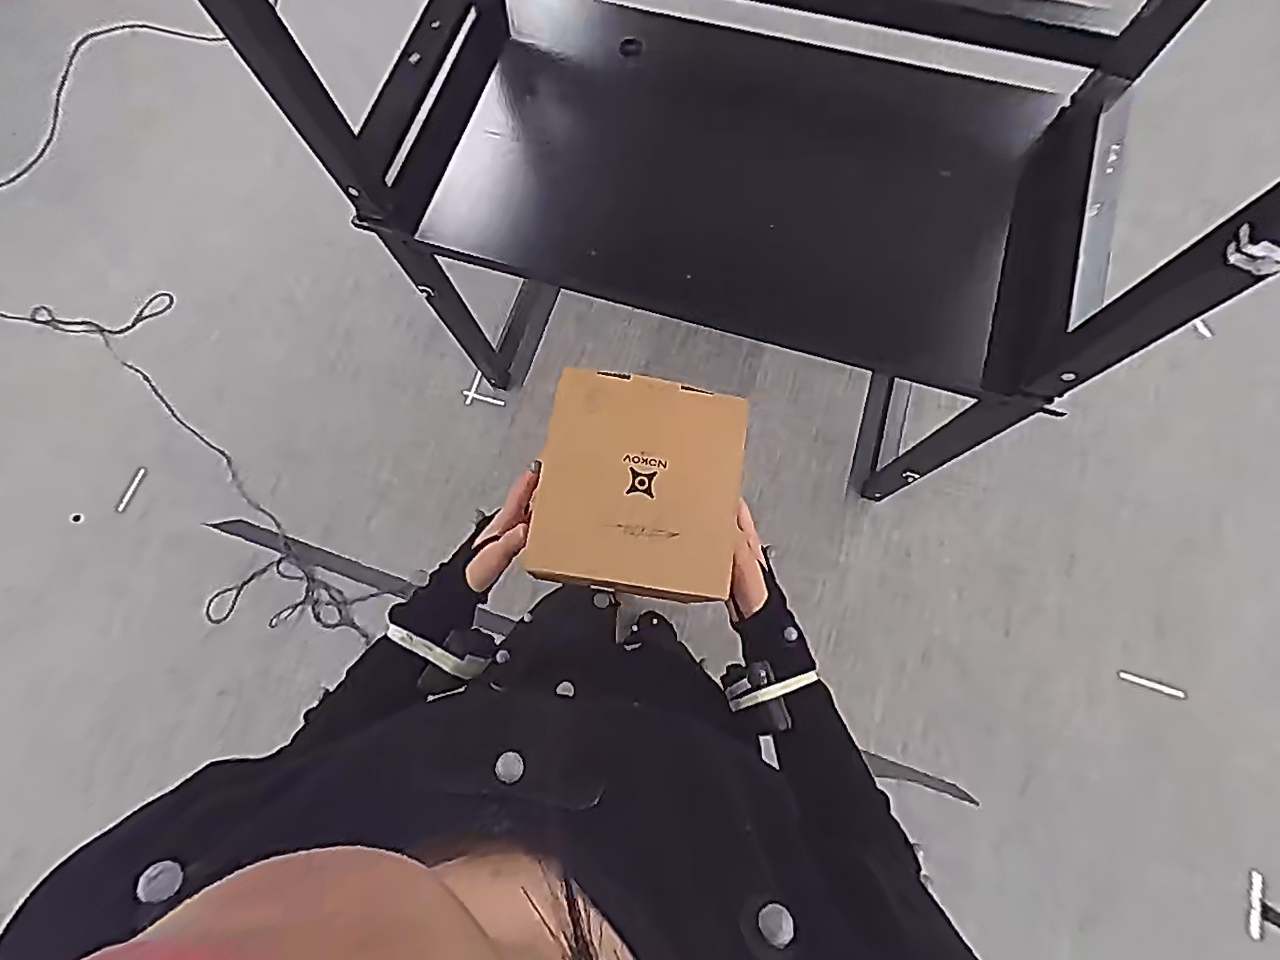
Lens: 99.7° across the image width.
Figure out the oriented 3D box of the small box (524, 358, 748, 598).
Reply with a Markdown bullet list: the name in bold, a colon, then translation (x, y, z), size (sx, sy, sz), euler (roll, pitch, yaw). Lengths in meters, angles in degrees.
- **small box**: translation (-0.007, 0.011, 0.518), size (0.168, 0.176, 0.179), euler (10, 75, -4)
